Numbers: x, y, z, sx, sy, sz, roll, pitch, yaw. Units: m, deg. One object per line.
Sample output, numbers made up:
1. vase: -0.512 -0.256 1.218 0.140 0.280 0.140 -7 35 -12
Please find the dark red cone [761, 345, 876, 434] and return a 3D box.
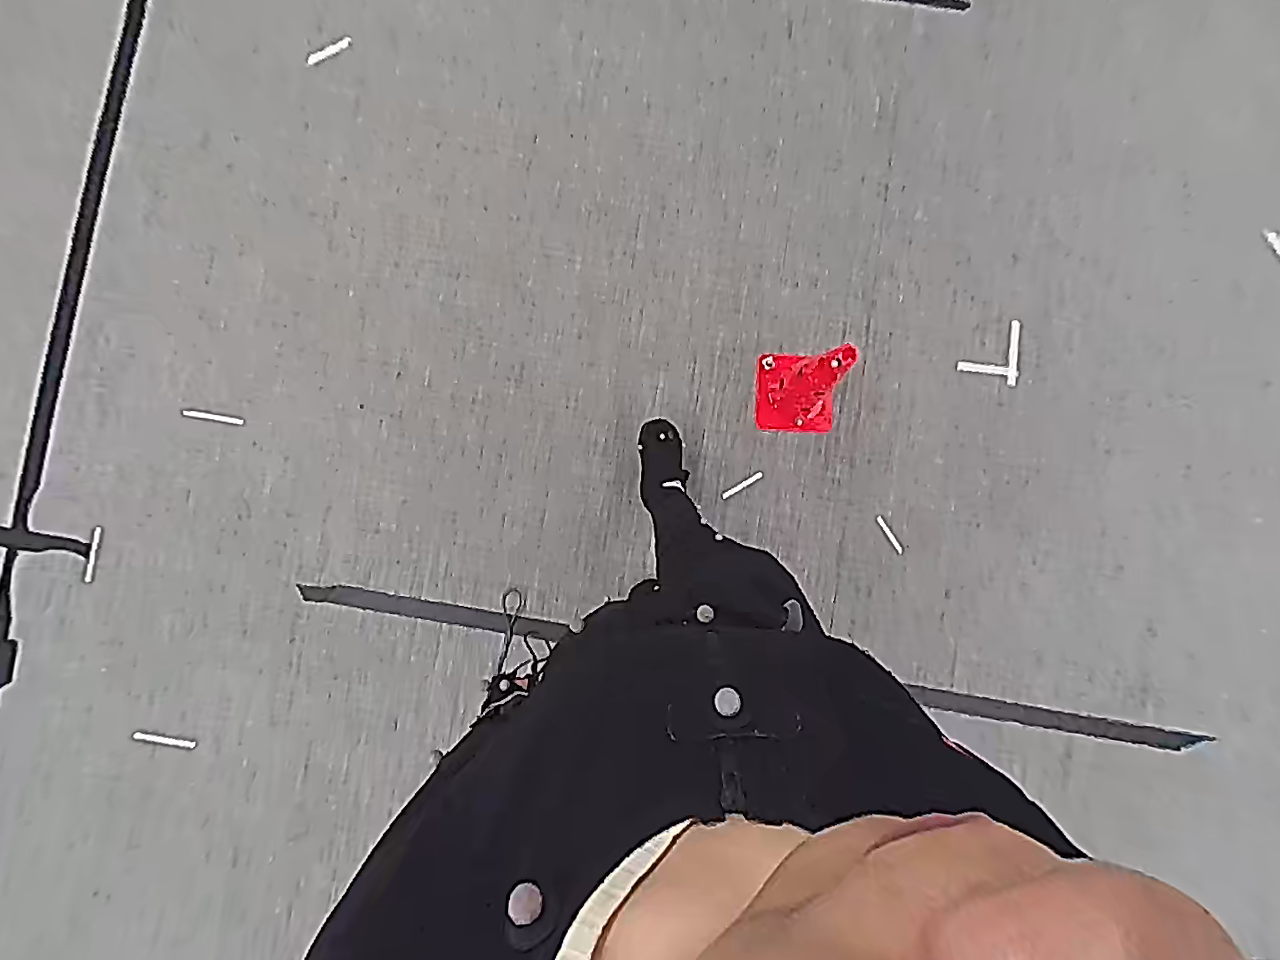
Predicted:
1. dark red cone: 0.405 -0.222 1.180 0.202 0.394 0.201 2 88 -1
